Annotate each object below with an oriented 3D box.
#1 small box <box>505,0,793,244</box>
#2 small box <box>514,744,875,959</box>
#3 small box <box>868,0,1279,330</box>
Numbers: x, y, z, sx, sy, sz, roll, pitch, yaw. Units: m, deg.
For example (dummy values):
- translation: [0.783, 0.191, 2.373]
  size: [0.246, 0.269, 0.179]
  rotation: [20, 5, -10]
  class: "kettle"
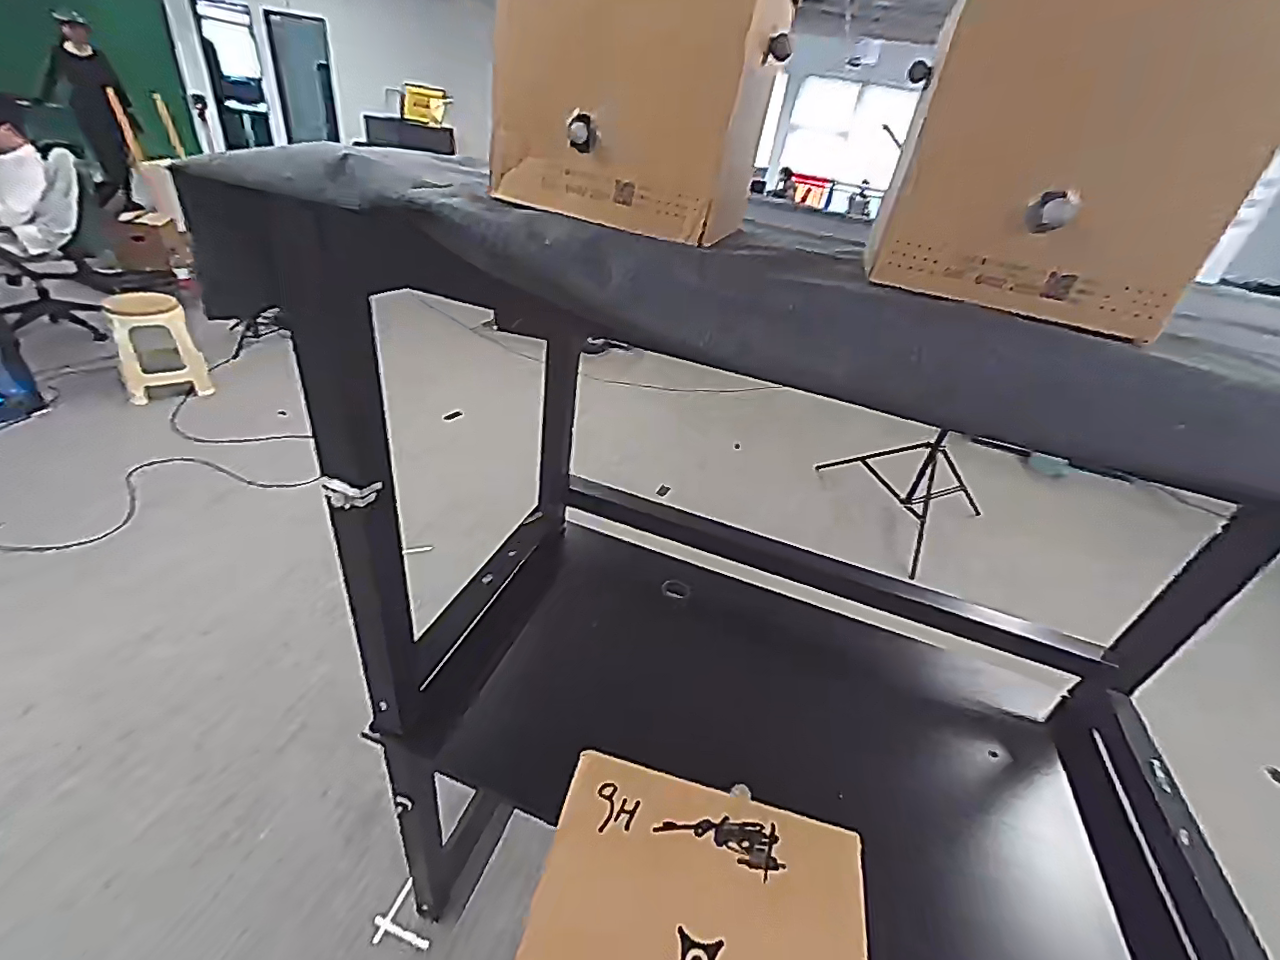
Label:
- translation: [0.007, -0.292, 0.413]
  size: [0.168, 0.176, 0.179]
  rotation: [17, 32, 10]
  class: "small box"
- translation: [0.016, 0.286, 0.299]
  size: [0.168, 0.176, 0.179]
  rotation: [15, 44, 6]
  class: "small box"
- translation: [0.264, -0.215, 0.359]
  size: [0.168, 0.176, 0.179]
  rotation: [17, 32, 11]
  class: "small box"
